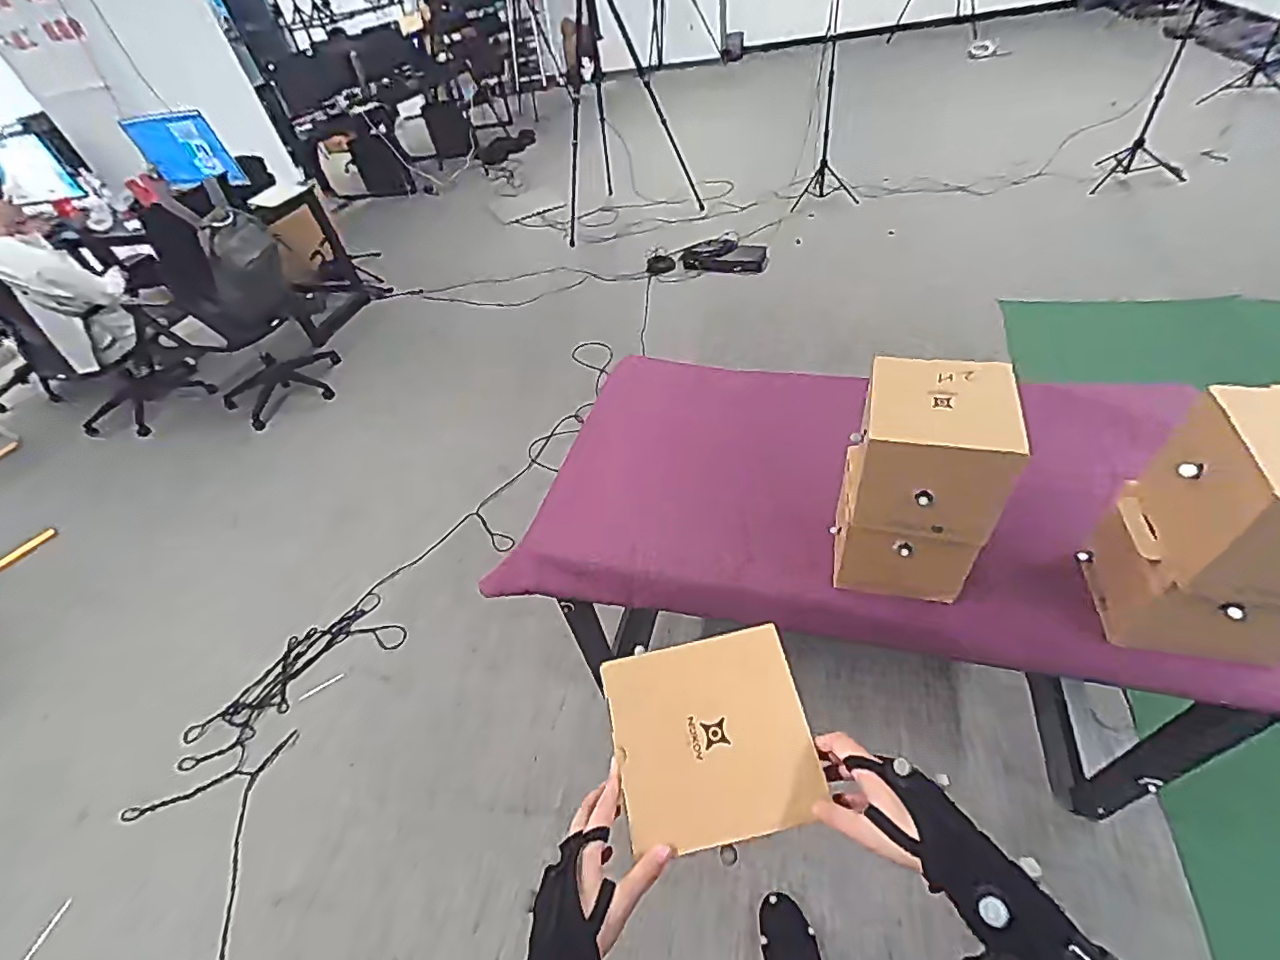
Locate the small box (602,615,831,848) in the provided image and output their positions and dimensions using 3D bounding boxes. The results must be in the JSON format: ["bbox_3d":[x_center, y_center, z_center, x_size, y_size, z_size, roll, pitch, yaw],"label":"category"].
[{"bbox_3d":[0.069,0.256,0.558,0.179,0.176,0.168,-14,61,-1],"label":"small box"}]

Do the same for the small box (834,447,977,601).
[{"bbox_3d":[0.404,0.069,0.845,0.179,0.176,0.168,6,47,17],"label":"small box"}]

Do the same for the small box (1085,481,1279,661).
[{"bbox_3d":[0.737,0.122,0.720,0.179,0.176,0.168,4,48,16],"label":"small box"}]

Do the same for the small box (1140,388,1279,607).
[{"bbox_3d":[0.705,0.021,0.593,0.168,0.176,0.179,6,47,18],"label":"small box"}]

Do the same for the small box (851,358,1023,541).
[{"bbox_3d":[0.384,-0.041,0.725,0.168,0.176,0.179,8,48,19],"label":"small box"}]
